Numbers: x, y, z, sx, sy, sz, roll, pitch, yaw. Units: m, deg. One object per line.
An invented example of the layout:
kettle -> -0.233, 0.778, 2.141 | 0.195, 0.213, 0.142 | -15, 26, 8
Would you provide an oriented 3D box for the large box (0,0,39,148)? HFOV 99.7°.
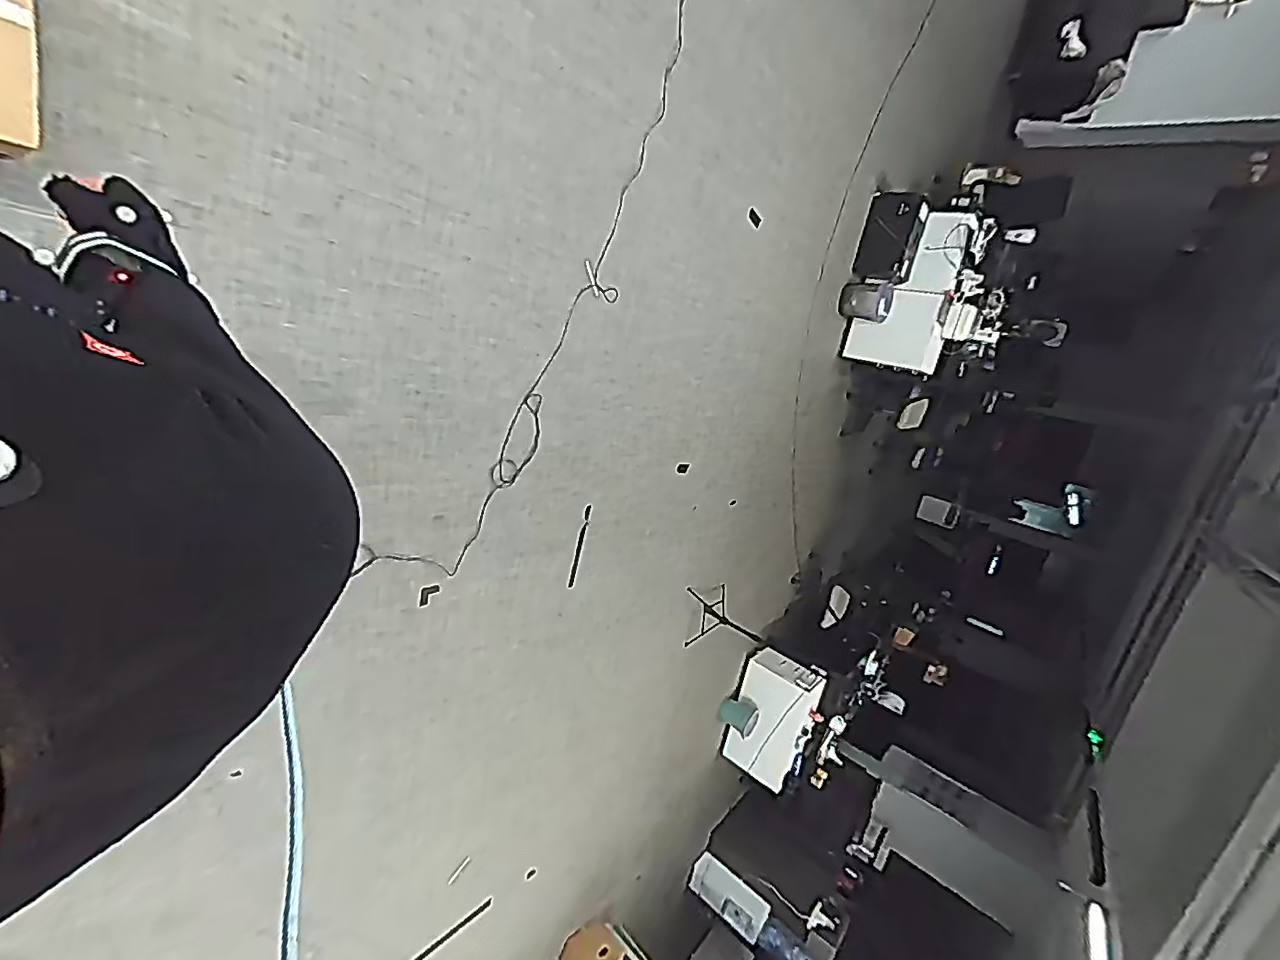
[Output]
large box -> -1.045, -0.645, 0.644 | 0.408, 0.320, 0.320 | -6, 114, -53
